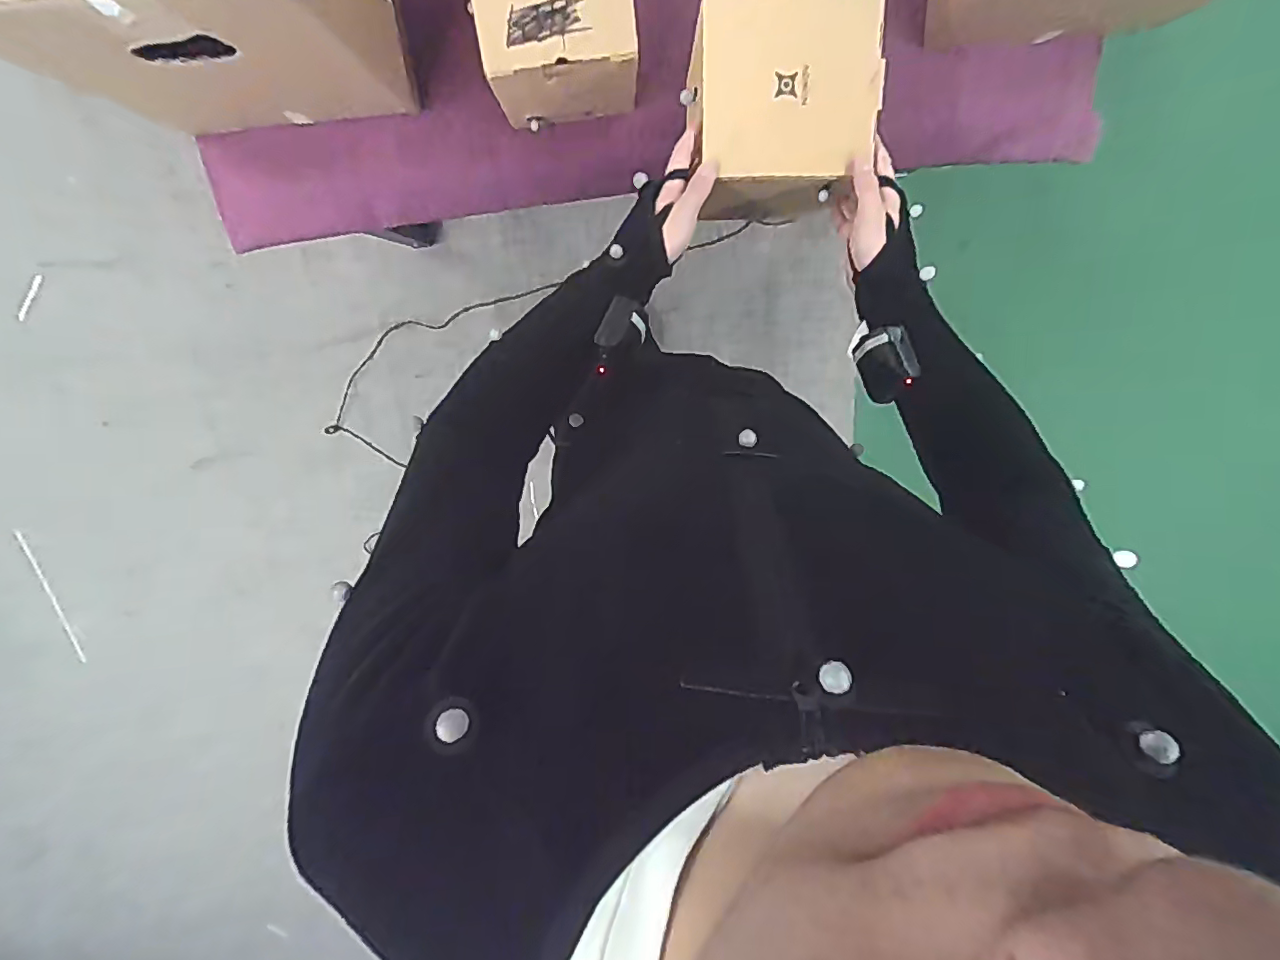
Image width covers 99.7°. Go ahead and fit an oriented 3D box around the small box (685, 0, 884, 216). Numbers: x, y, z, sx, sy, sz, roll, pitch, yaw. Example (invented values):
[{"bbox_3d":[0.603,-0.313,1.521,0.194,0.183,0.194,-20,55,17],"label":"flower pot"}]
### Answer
[{"bbox_3d":[0.143,-0.402,0.599,0.179,0.176,0.168,-1,102,-1],"label":"small box"}]
